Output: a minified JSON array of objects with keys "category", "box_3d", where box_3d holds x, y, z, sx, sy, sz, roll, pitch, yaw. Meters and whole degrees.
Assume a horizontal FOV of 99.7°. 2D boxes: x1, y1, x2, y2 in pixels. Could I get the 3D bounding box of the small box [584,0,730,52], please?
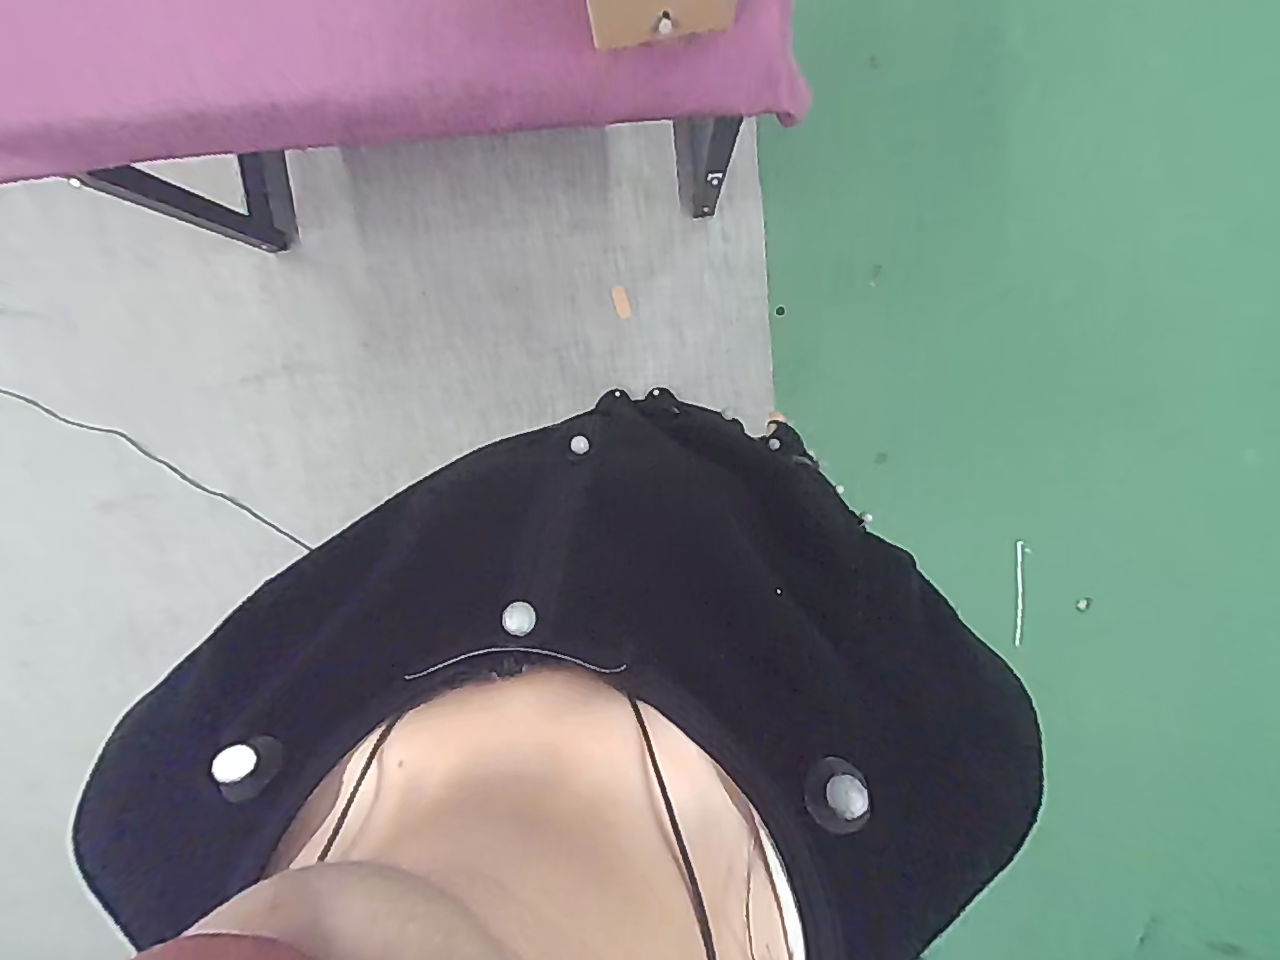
[{"category":"small box","box_3d":[0.013,-0.620,0.593,0.179,0.176,0.168,-8,98,3]}]
